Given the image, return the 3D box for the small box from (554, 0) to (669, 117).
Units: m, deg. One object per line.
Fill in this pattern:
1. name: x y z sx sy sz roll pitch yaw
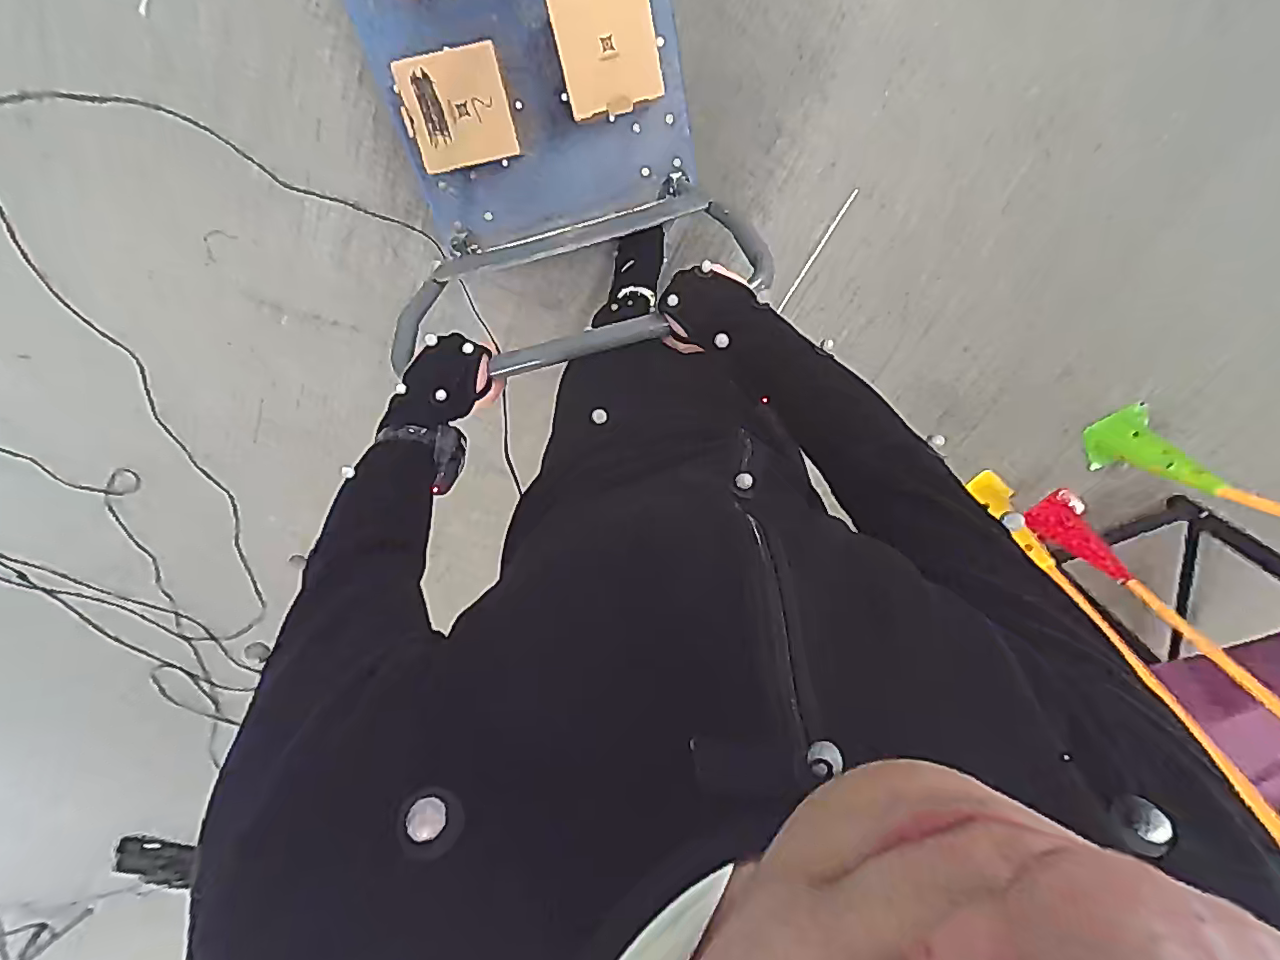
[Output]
1. small box: -0.053 -0.773 0.969 0.168 0.176 0.179 -14 123 3
